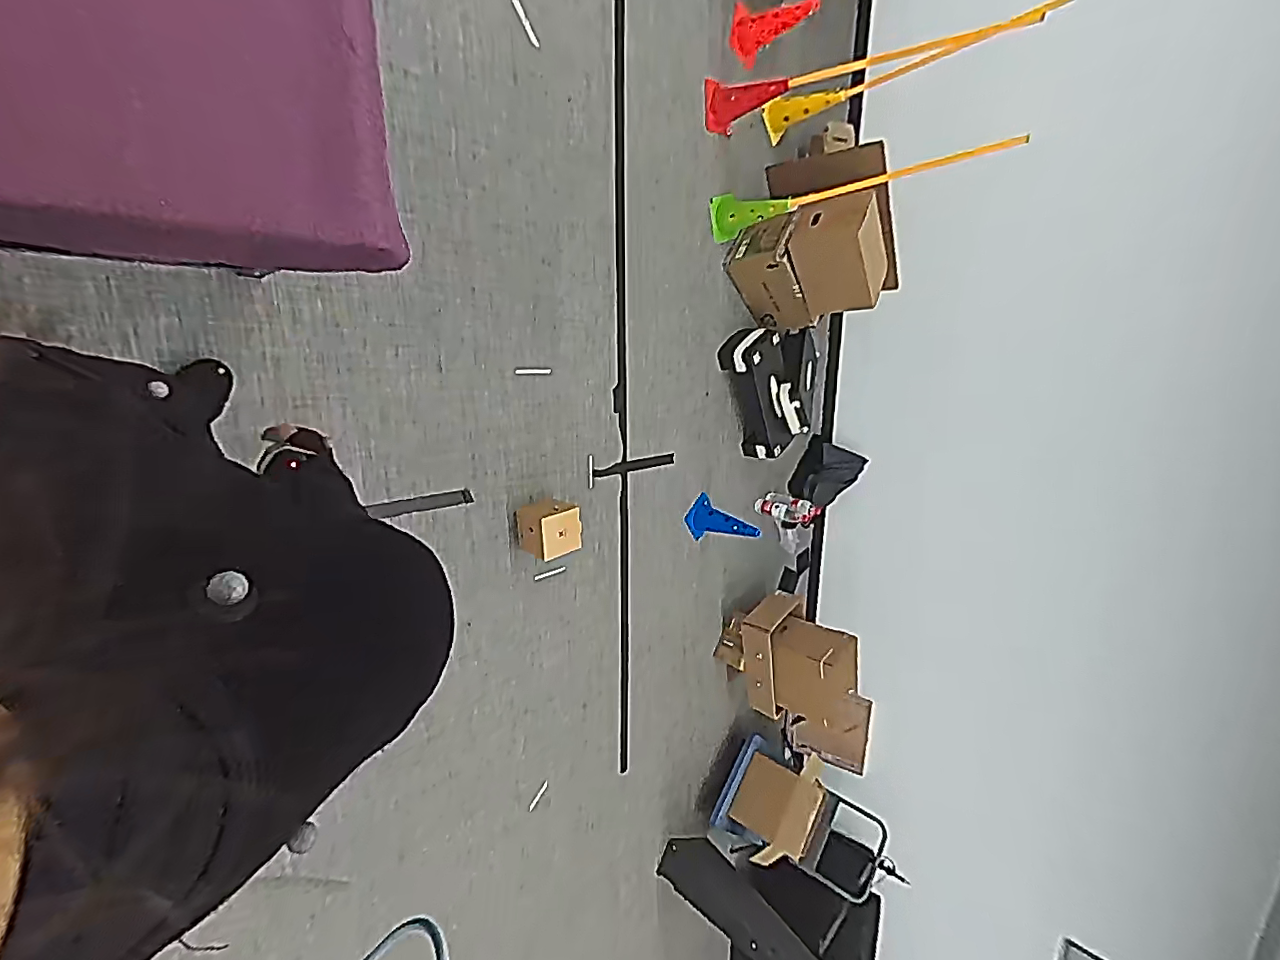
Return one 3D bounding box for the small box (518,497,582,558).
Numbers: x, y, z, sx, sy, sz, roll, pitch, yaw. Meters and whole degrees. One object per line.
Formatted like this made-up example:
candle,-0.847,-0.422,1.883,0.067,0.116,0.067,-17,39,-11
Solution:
small box,-0.341,0.171,2.018,0.179,0.176,0.168,-18,113,-44
